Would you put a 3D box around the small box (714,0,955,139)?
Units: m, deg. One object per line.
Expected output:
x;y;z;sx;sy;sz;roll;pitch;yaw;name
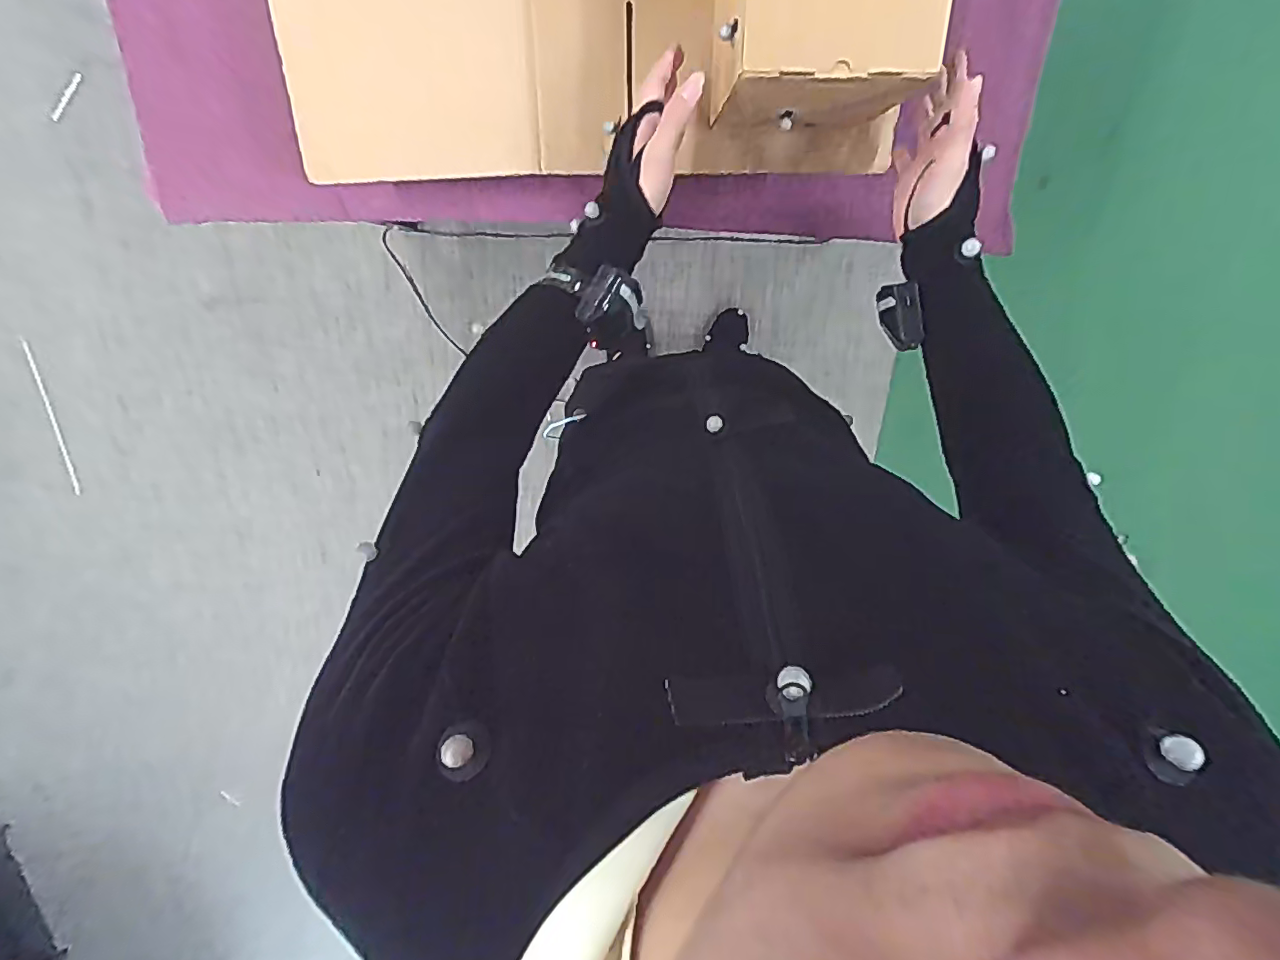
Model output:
0.163;-0.430;0.488;0.168;0.176;0.179;-1;111;-2;small box
